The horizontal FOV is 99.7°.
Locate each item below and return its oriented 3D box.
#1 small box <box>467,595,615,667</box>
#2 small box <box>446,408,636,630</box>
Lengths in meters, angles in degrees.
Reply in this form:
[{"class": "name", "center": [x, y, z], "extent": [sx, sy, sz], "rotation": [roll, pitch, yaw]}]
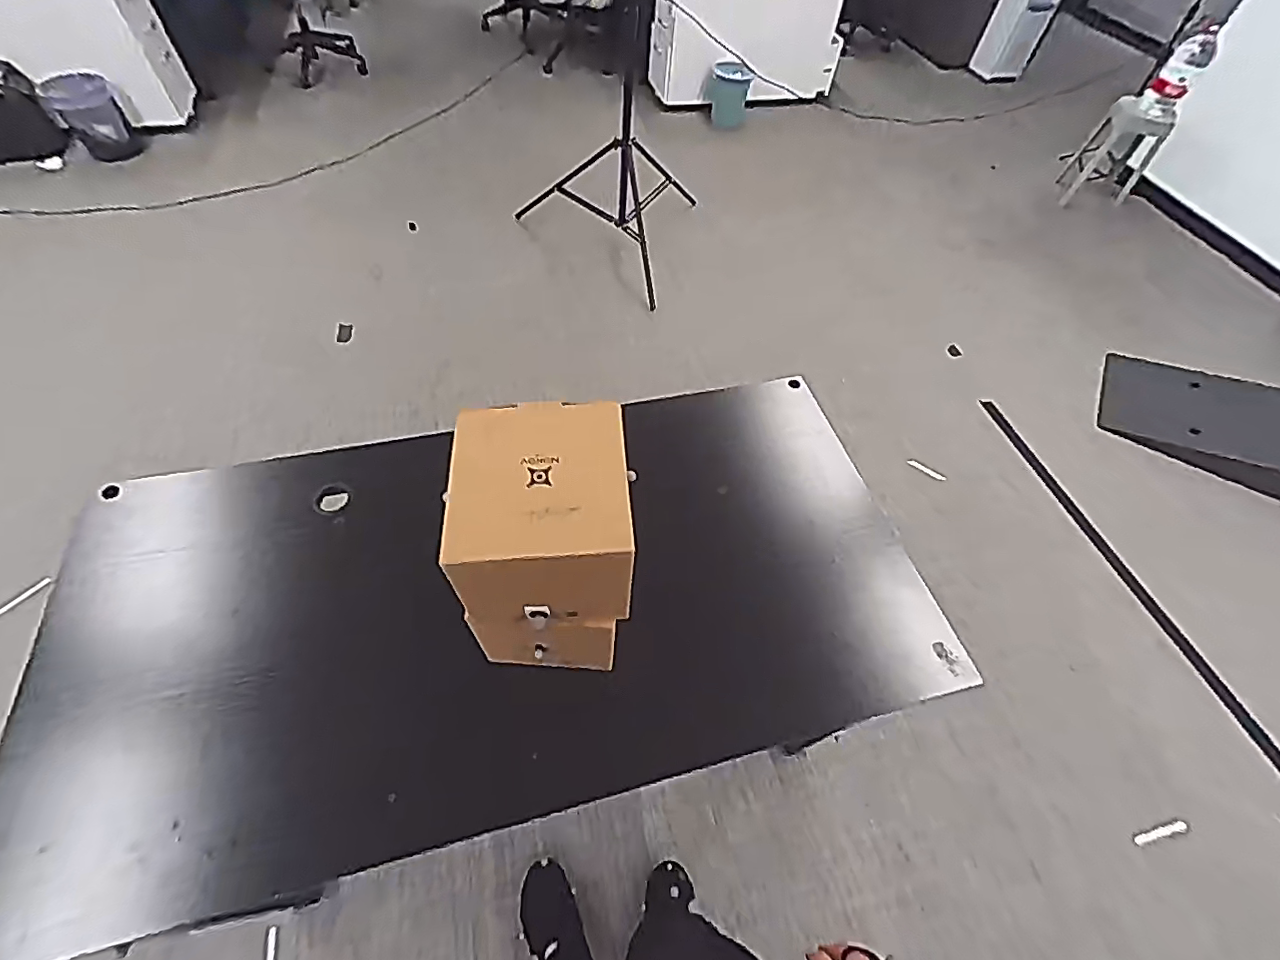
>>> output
[{"class": "small box", "center": [-0.112, 0.136, 0.714], "extent": [0.168, 0.176, 0.179], "rotation": [5, 55, -1]}, {"class": "small box", "center": [-0.097, 0.045, 0.580], "extent": [0.168, 0.176, 0.179], "rotation": [-4, 57, -5]}]
